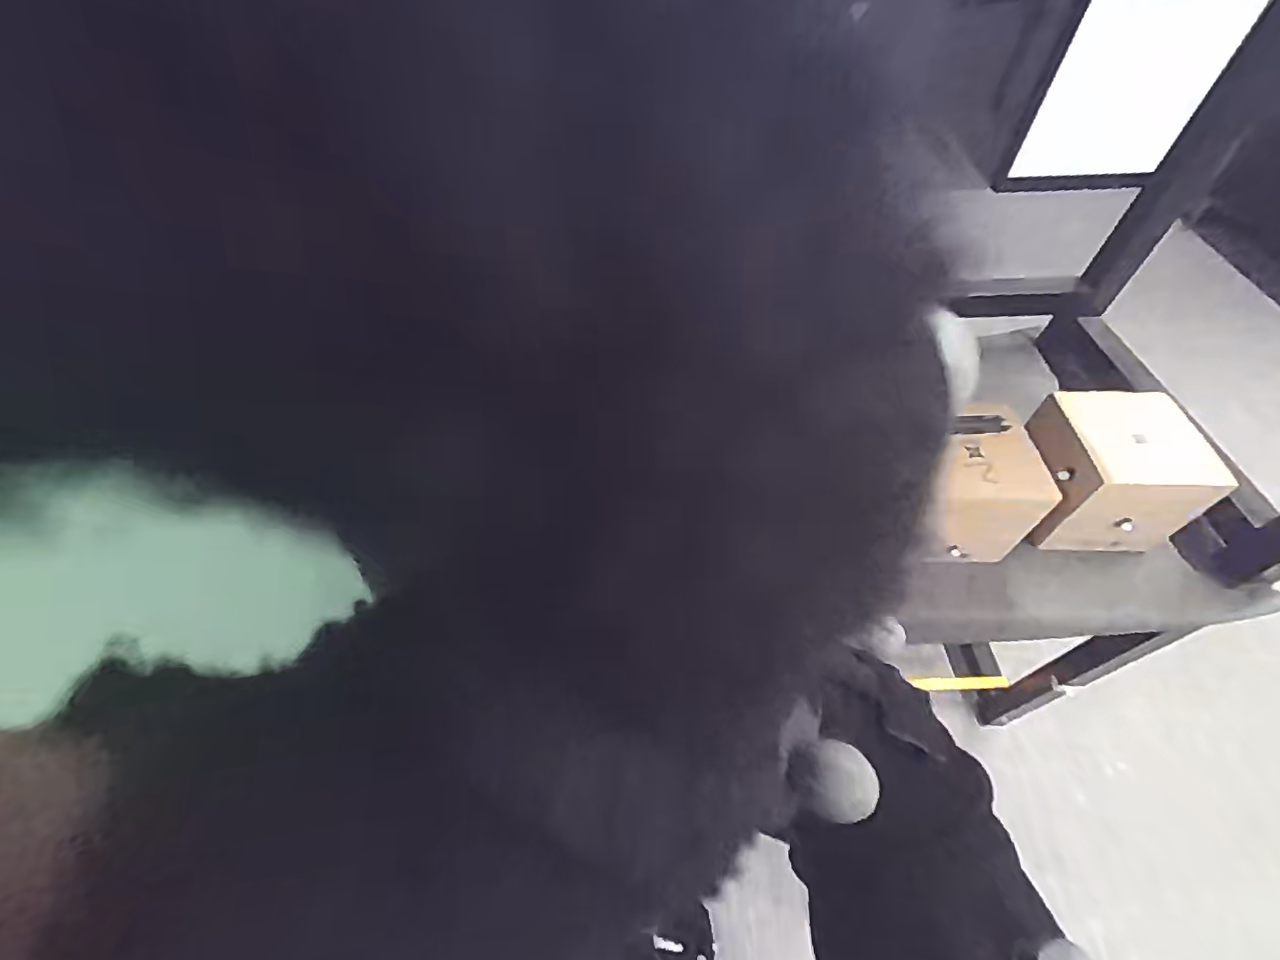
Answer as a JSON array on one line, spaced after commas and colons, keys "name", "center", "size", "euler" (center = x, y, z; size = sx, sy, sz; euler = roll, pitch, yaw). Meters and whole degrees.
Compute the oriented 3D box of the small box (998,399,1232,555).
[{"name": "small box", "center": [0.682, -0.001, 0.807], "size": [0.168, 0.176, 0.179], "euler": [1, 51, 3]}]
